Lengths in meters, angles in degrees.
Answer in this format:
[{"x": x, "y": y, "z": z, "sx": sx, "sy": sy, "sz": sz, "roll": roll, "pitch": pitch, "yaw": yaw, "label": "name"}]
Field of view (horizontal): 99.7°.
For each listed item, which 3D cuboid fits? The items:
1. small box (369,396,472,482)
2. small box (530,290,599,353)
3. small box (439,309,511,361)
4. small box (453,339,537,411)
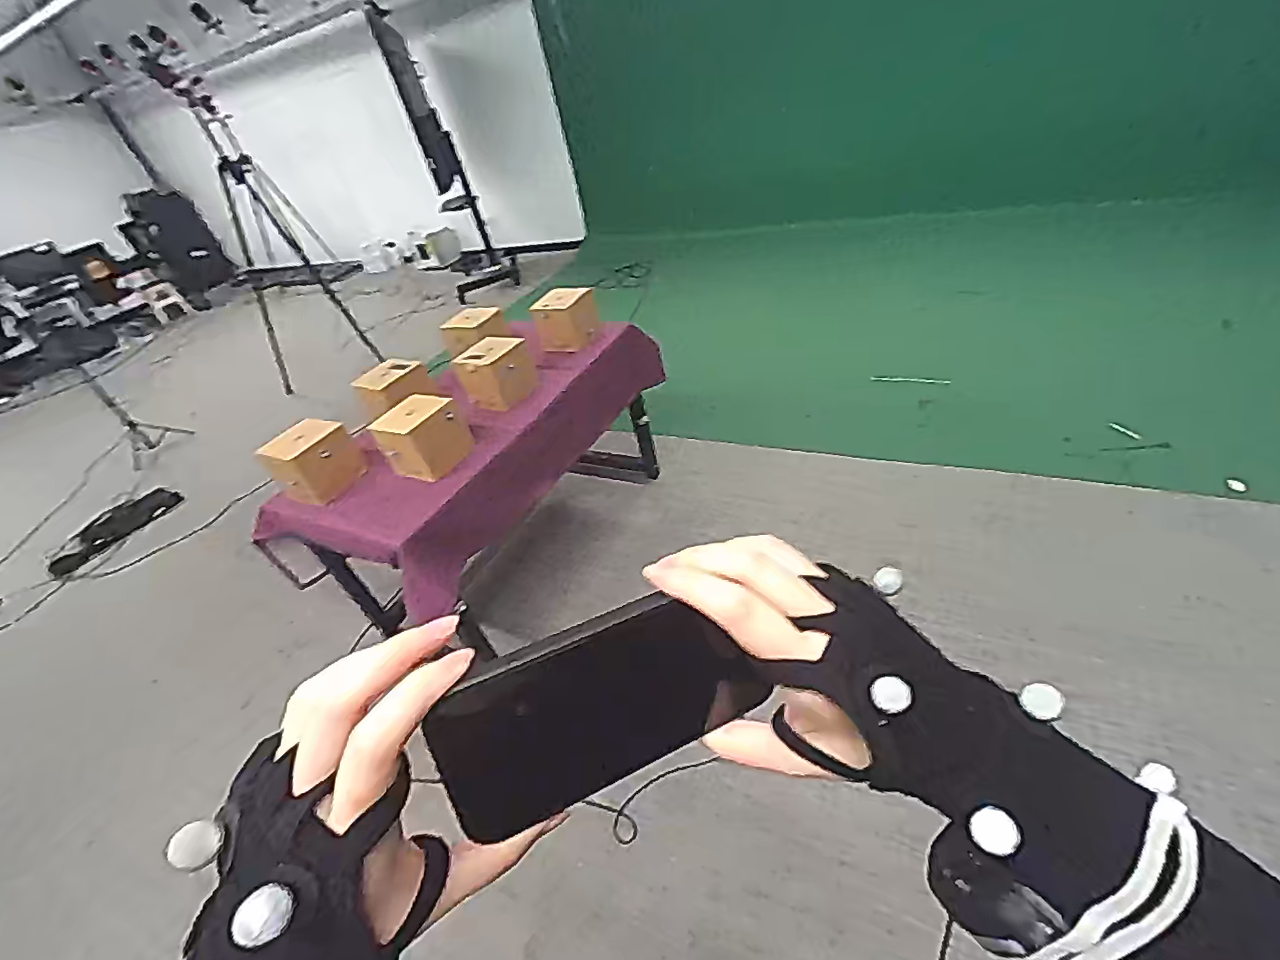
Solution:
[{"x": -0.603, "y": -0.113, "z": 1.512, "sx": 0.168, "sy": 0.176, "sz": 0.179, "roll": 10, "pitch": 43, "yaw": 29, "label": "small box"}, {"x": -0.268, "y": -0.581, "z": 1.981, "sx": 0.168, "sy": 0.176, "sz": 0.179, "roll": 8, "pitch": 43, "yaw": 28, "label": "small box"}, {"x": -0.606, "y": -0.523, "z": 2.022, "sx": 0.179, "sy": 0.176, "sz": 0.168, "roll": 8, "pitch": 44, "yaw": 26, "label": "small box"}, {"x": -0.459, "y": -0.338, "z": 1.743, "sx": 0.168, "sy": 0.176, "sz": 0.179, "roll": 12, "pitch": 44, "yaw": 30, "label": "small box"}]
